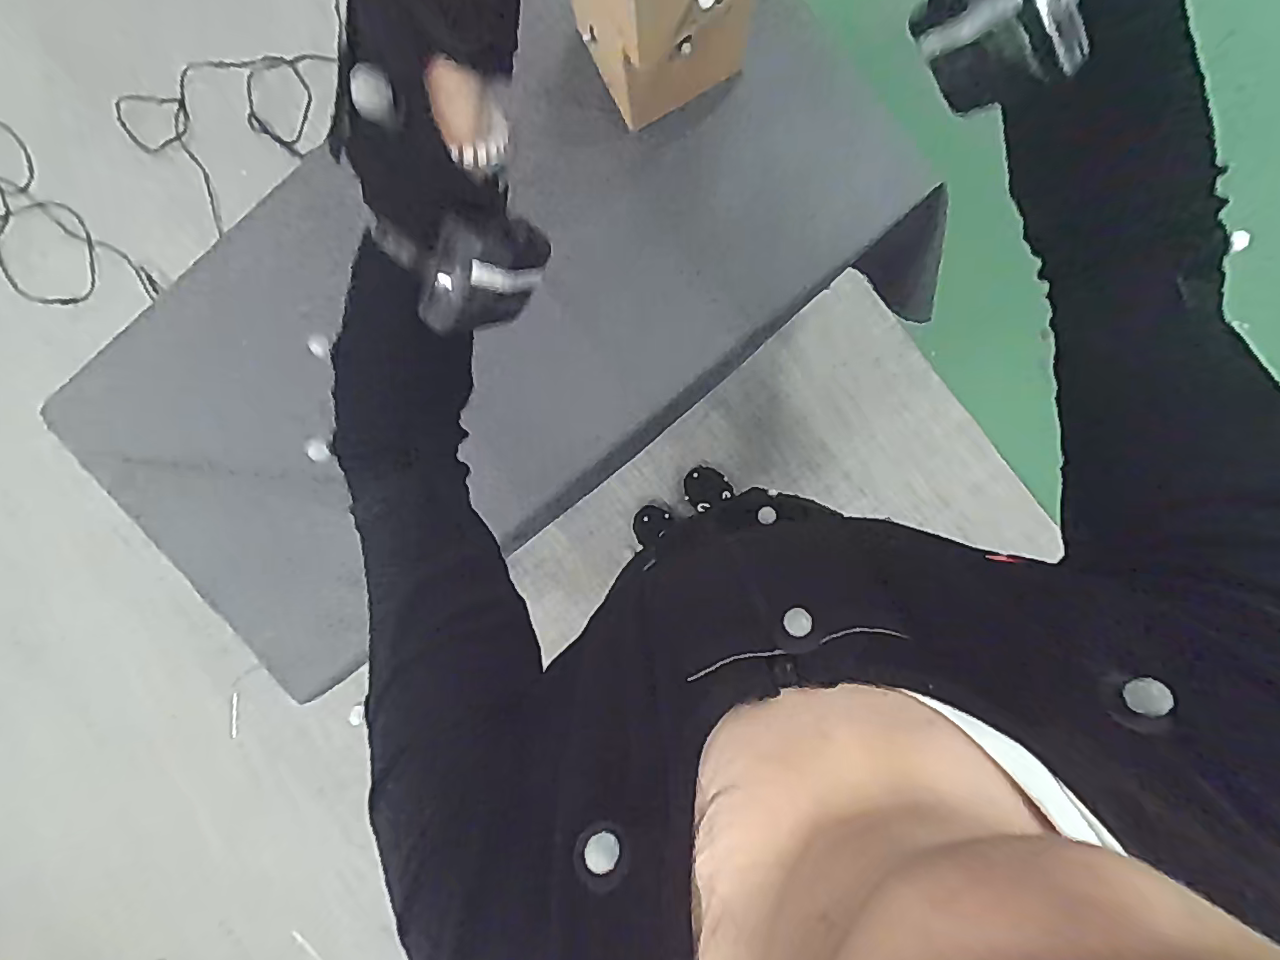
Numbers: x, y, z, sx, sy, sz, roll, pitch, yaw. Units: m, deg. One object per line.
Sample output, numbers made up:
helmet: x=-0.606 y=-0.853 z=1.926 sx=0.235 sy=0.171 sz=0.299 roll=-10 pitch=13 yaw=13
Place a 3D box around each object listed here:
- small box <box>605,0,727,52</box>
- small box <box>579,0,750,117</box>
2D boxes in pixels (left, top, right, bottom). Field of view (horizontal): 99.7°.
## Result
small box: x=0.018 y=-0.555 z=0.485 sx=0.168 sy=0.176 sz=0.179 roll=-33 pitch=93 yaw=6
small box: x=0.025 y=-0.588 z=0.647 sx=0.179 sy=0.176 sz=0.168 roll=-27 pitch=93 yaw=5
